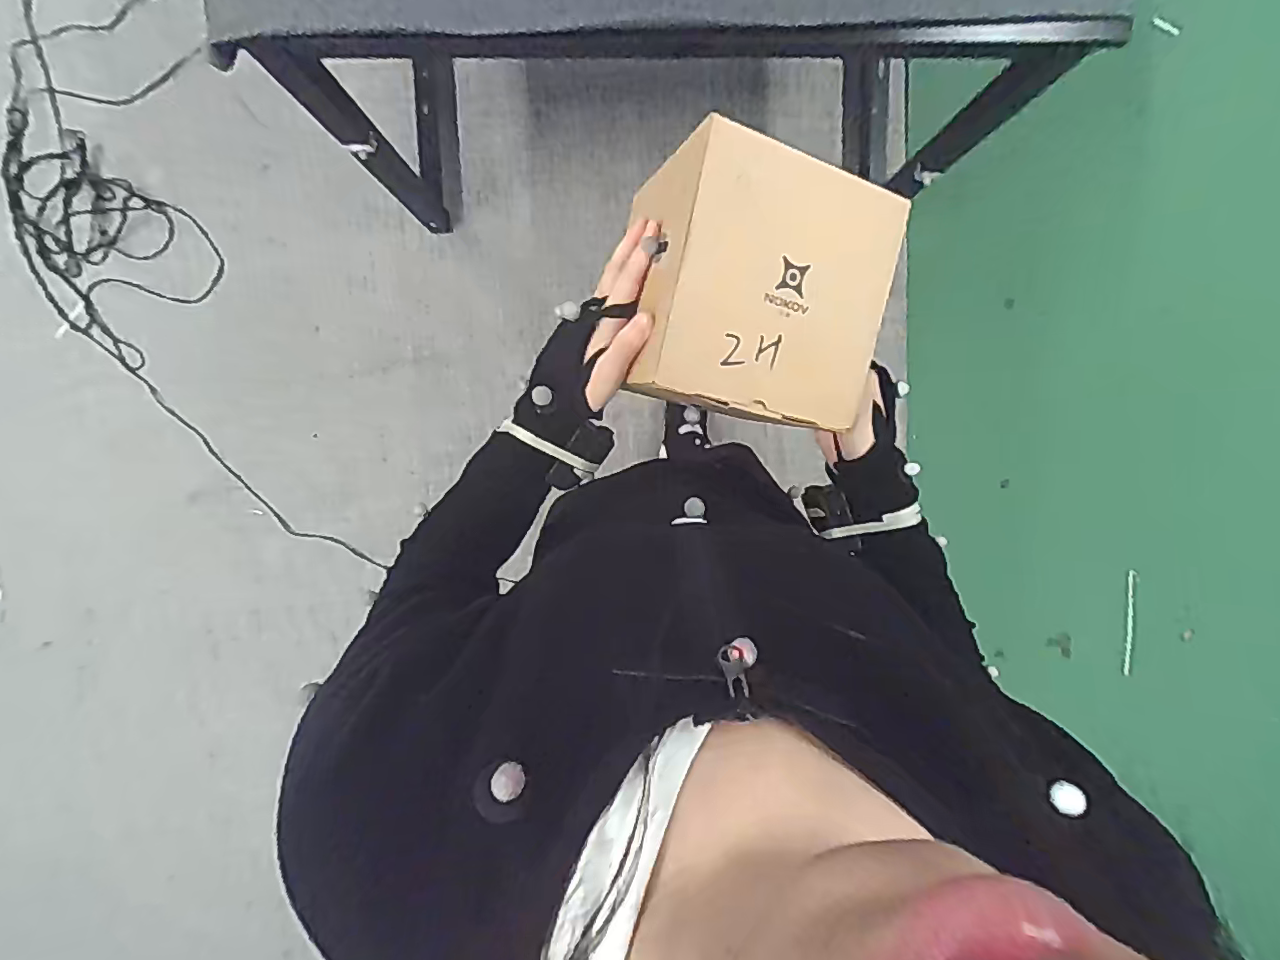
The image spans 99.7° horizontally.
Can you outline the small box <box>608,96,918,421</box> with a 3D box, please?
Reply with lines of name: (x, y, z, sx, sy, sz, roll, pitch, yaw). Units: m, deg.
small box: (0.082, -0.155, 0.443, 0.168, 0.176, 0.179, 10, 97, -19)
